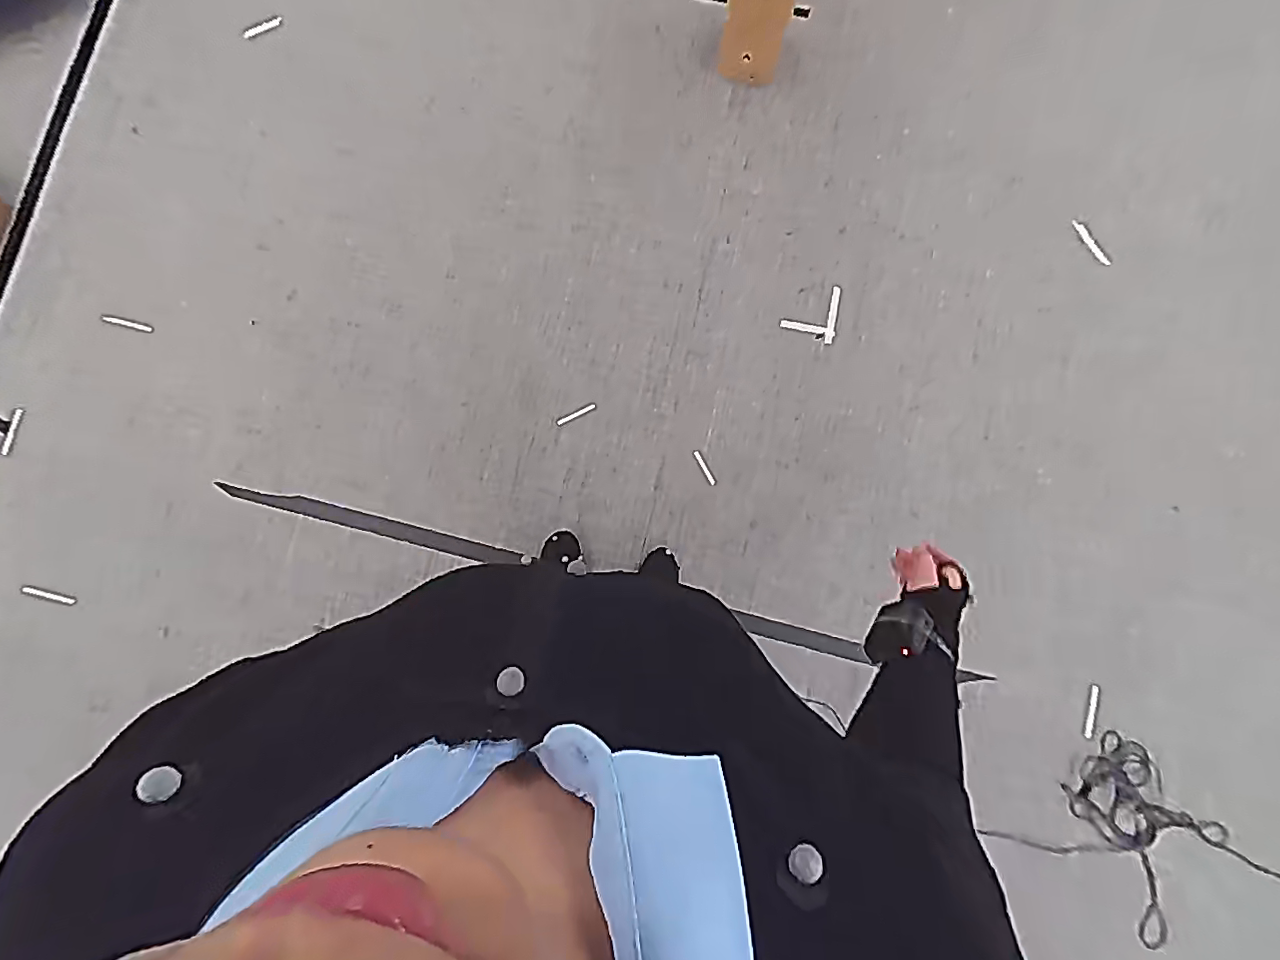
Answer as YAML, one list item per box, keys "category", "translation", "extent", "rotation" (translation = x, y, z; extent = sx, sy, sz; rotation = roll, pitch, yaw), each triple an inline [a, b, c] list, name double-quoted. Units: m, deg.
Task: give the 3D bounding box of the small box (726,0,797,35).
- category: "small box"
  translation: [0.330, -1.315, 1.416]
  extent: [0.179, 0.176, 0.168]
  rotation: [7, 84, 3]

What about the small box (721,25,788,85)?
- category: "small box"
  translation: [0.340, -1.307, 1.578]
  extent: [0.168, 0.176, 0.179]
  rotation: [16, 84, 2]
